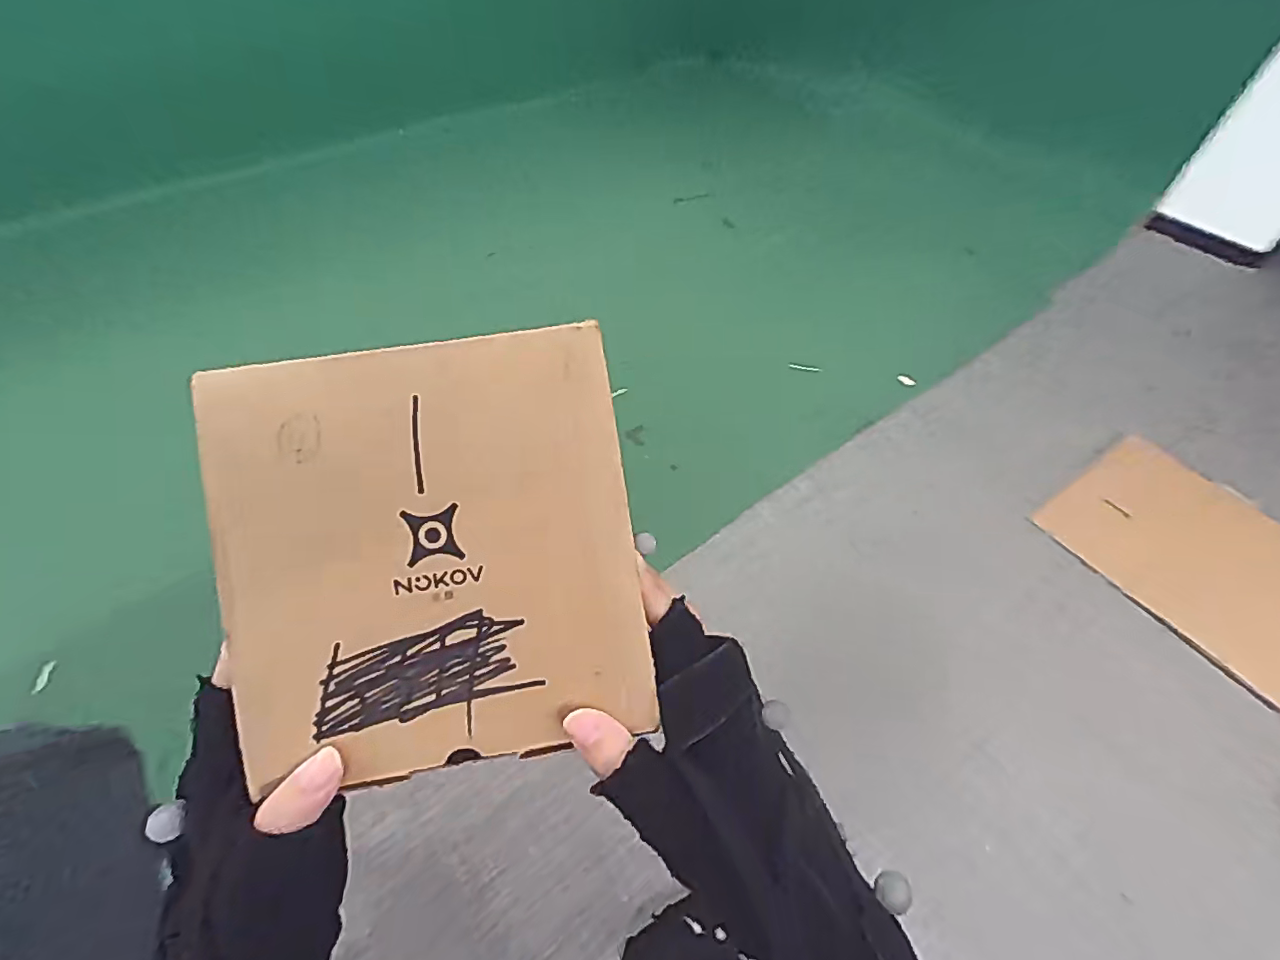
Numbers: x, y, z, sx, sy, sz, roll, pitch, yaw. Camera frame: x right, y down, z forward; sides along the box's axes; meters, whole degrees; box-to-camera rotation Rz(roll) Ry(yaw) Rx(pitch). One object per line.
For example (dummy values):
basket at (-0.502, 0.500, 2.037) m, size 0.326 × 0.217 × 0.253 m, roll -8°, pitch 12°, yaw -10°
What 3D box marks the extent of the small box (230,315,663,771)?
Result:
small box at (-0.084, 0.027, 0.309) m, size 0.168 × 0.176 × 0.179 m, roll -9°, pitch 87°, yaw -4°
